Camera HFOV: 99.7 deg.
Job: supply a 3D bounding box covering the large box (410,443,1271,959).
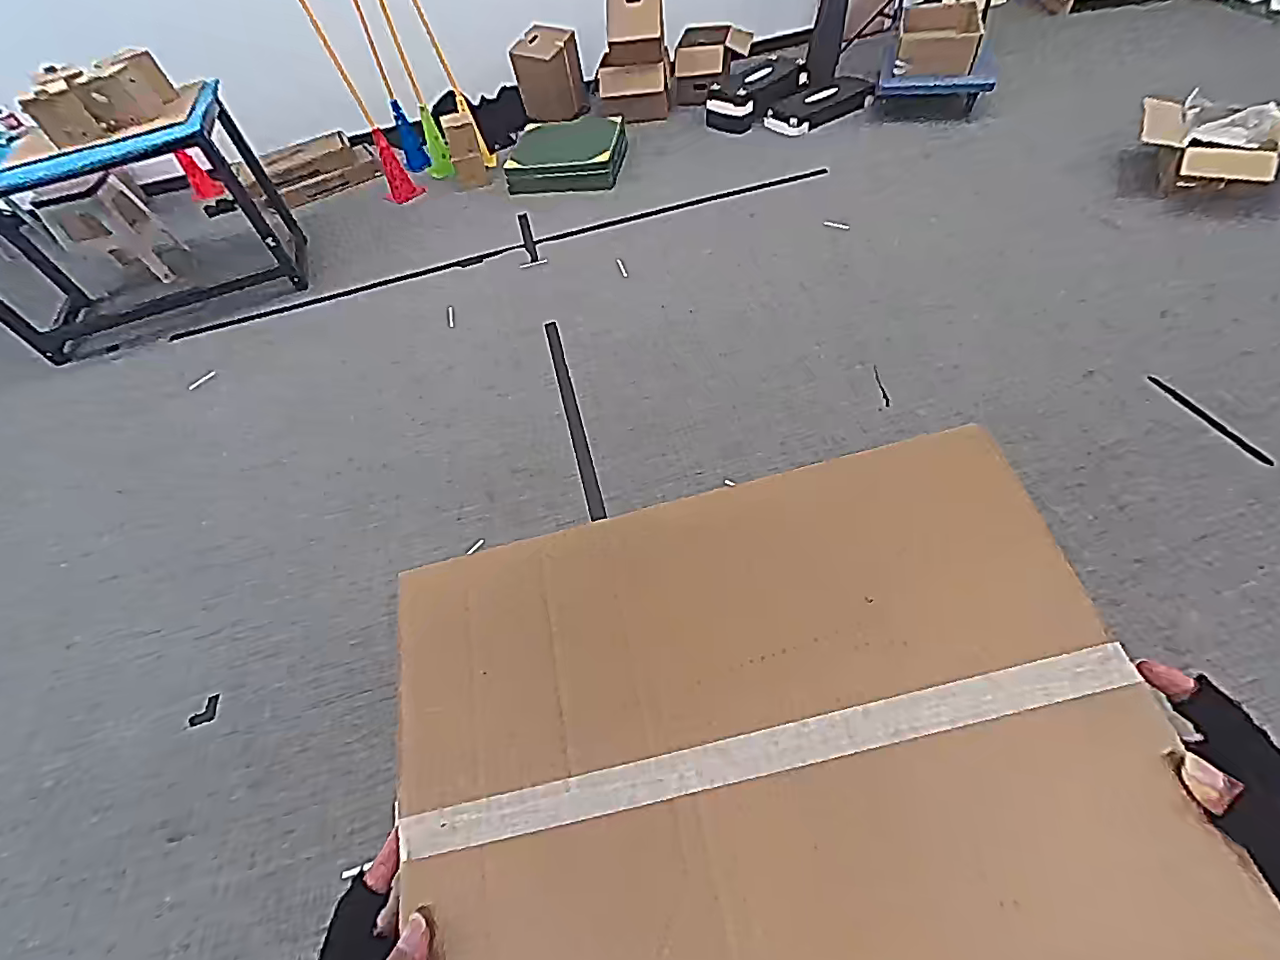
[{"bbox_3d":[0.086,0.219,0.435,0.408,0.320,0.320,-15,62,2],"label":"large box"}]
